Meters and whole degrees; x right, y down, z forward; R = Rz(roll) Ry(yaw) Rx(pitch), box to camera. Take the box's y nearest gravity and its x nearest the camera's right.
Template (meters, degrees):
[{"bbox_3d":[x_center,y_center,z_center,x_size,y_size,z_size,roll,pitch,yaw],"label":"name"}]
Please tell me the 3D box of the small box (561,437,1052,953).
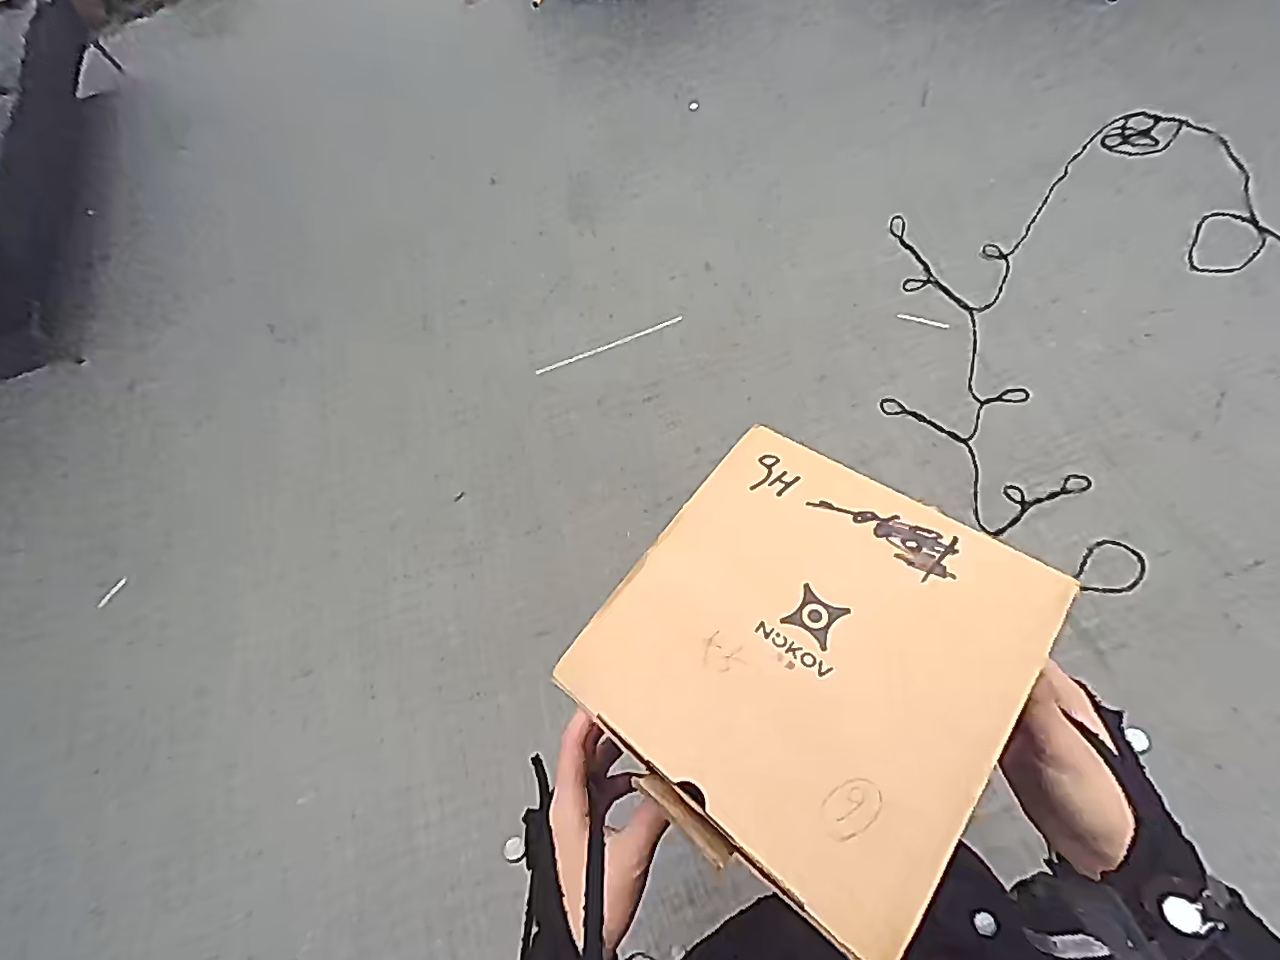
[{"bbox_3d":[0.089,0.114,0.321,0.168,0.176,0.179,32,70,27],"label":"small box"}]
